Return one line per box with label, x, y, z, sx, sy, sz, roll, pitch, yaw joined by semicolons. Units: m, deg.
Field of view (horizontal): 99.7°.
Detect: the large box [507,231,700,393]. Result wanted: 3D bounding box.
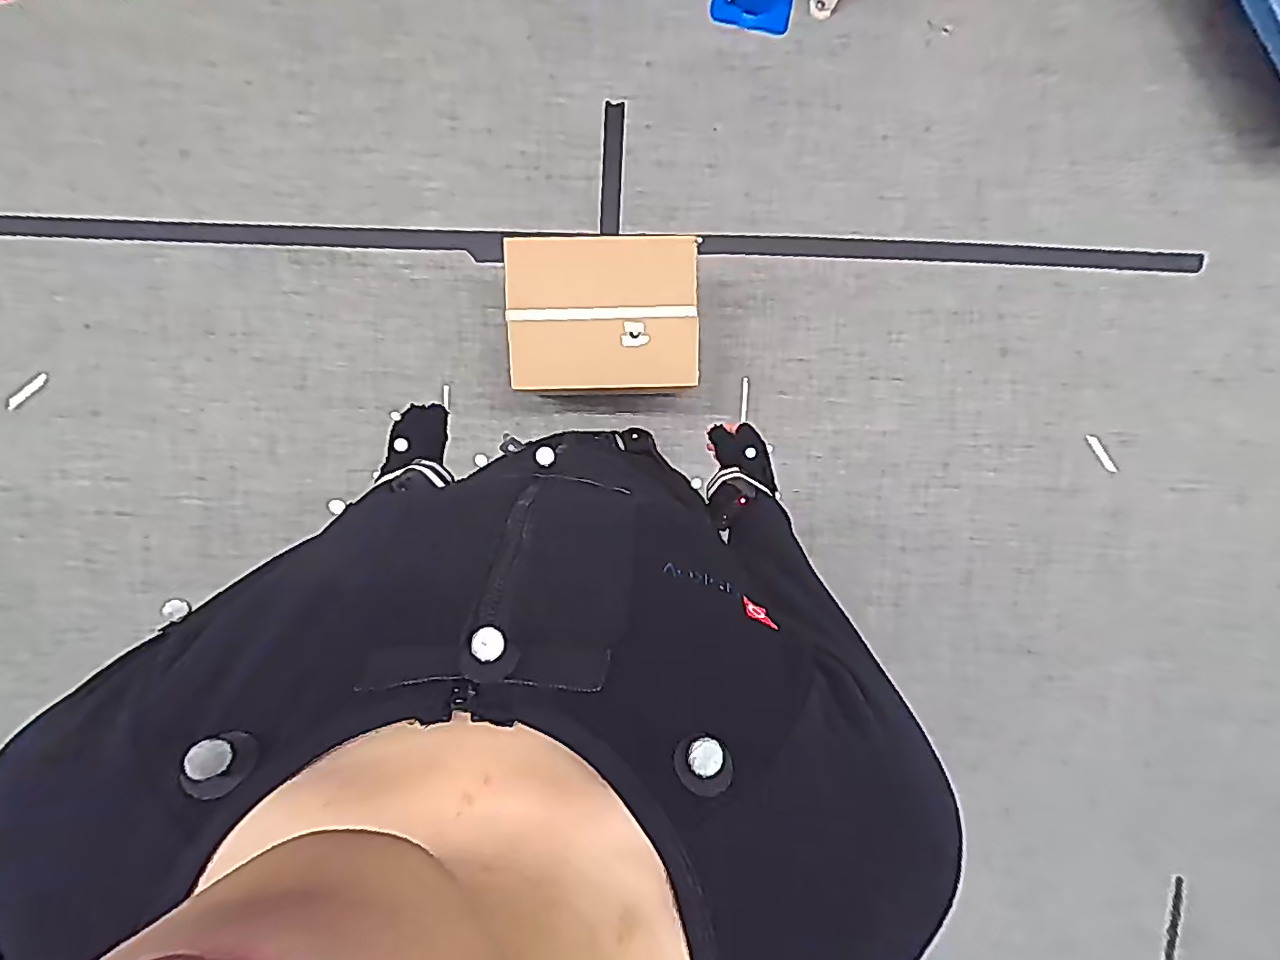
large box;-0.082;-0.379;1.289;0.408;0.320;0.320;-2;97;-3
